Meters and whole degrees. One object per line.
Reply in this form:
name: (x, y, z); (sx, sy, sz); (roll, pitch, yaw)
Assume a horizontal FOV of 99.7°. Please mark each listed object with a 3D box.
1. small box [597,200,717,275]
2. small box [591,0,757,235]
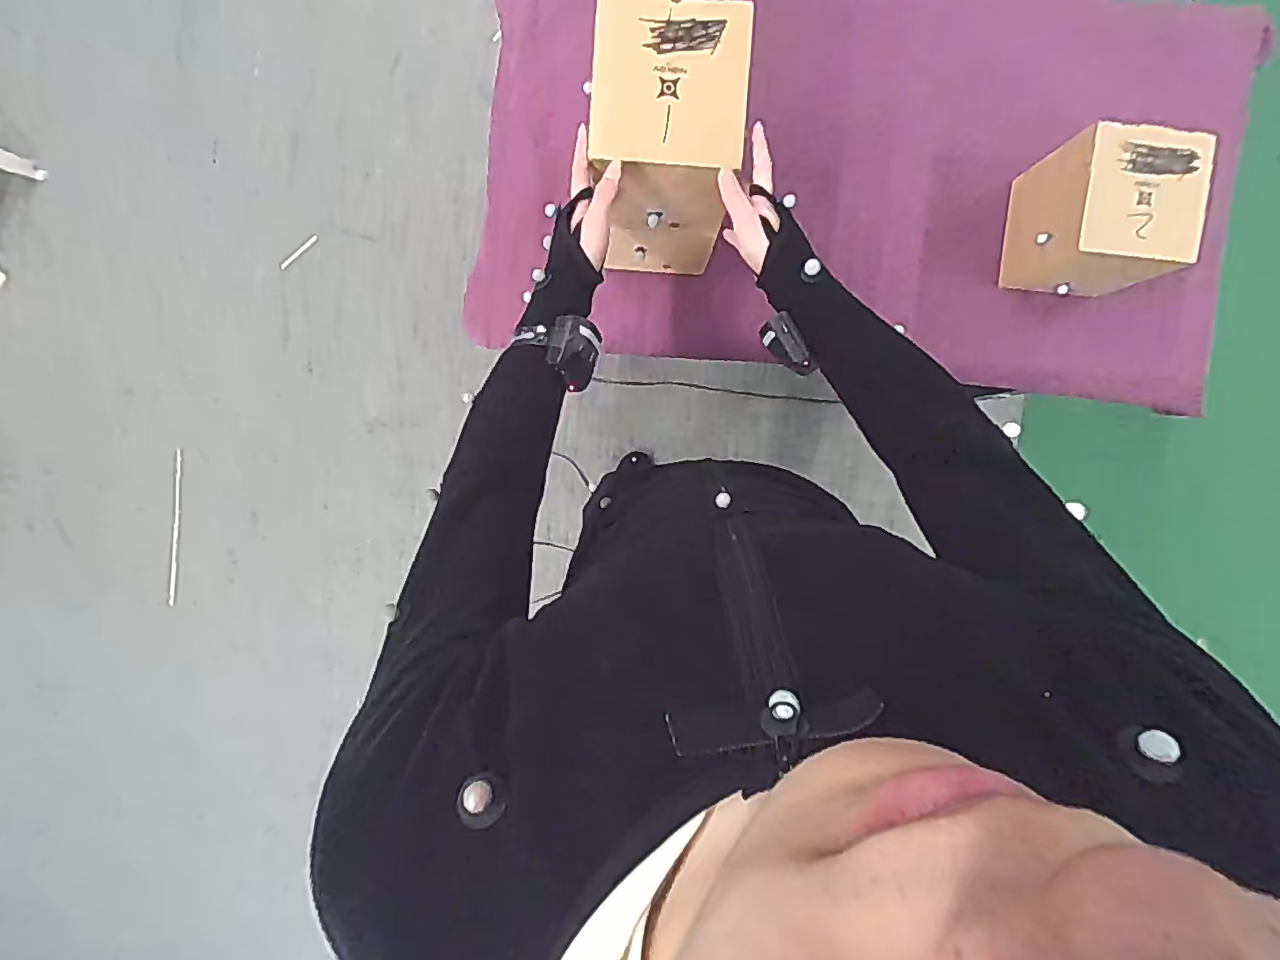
small box: (0.029, -0.421, 0.805); (0.168, 0.176, 0.179); (3, 91, -1)
small box: (0.033, -0.418, 0.640); (0.168, 0.176, 0.179); (4, 92, -1)
